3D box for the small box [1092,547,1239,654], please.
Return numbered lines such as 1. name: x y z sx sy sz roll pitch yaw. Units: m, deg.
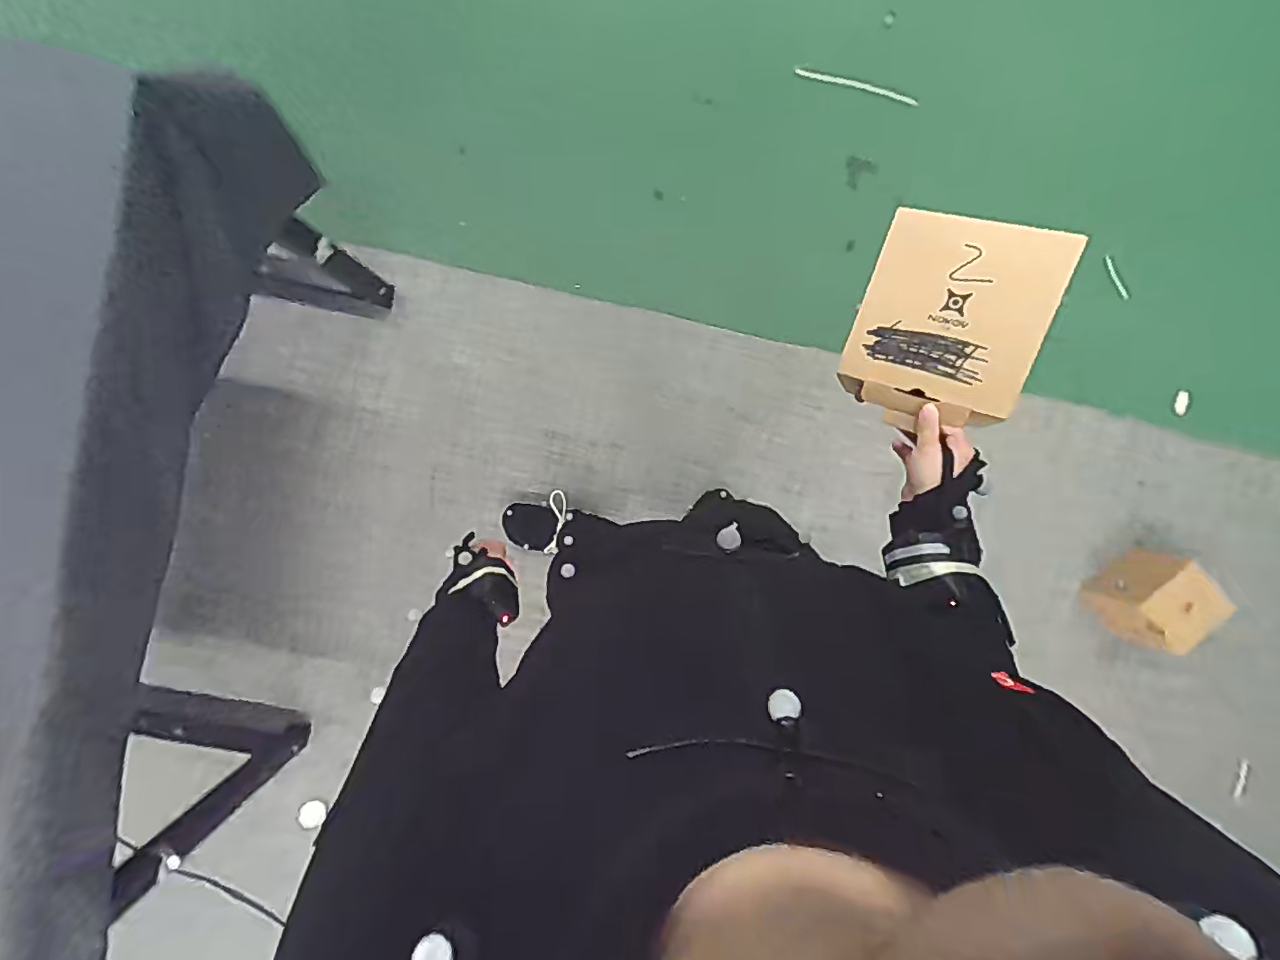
1. small box: 1.275 0.288 1.332 0.179 0.176 0.168 -43 94 -1
